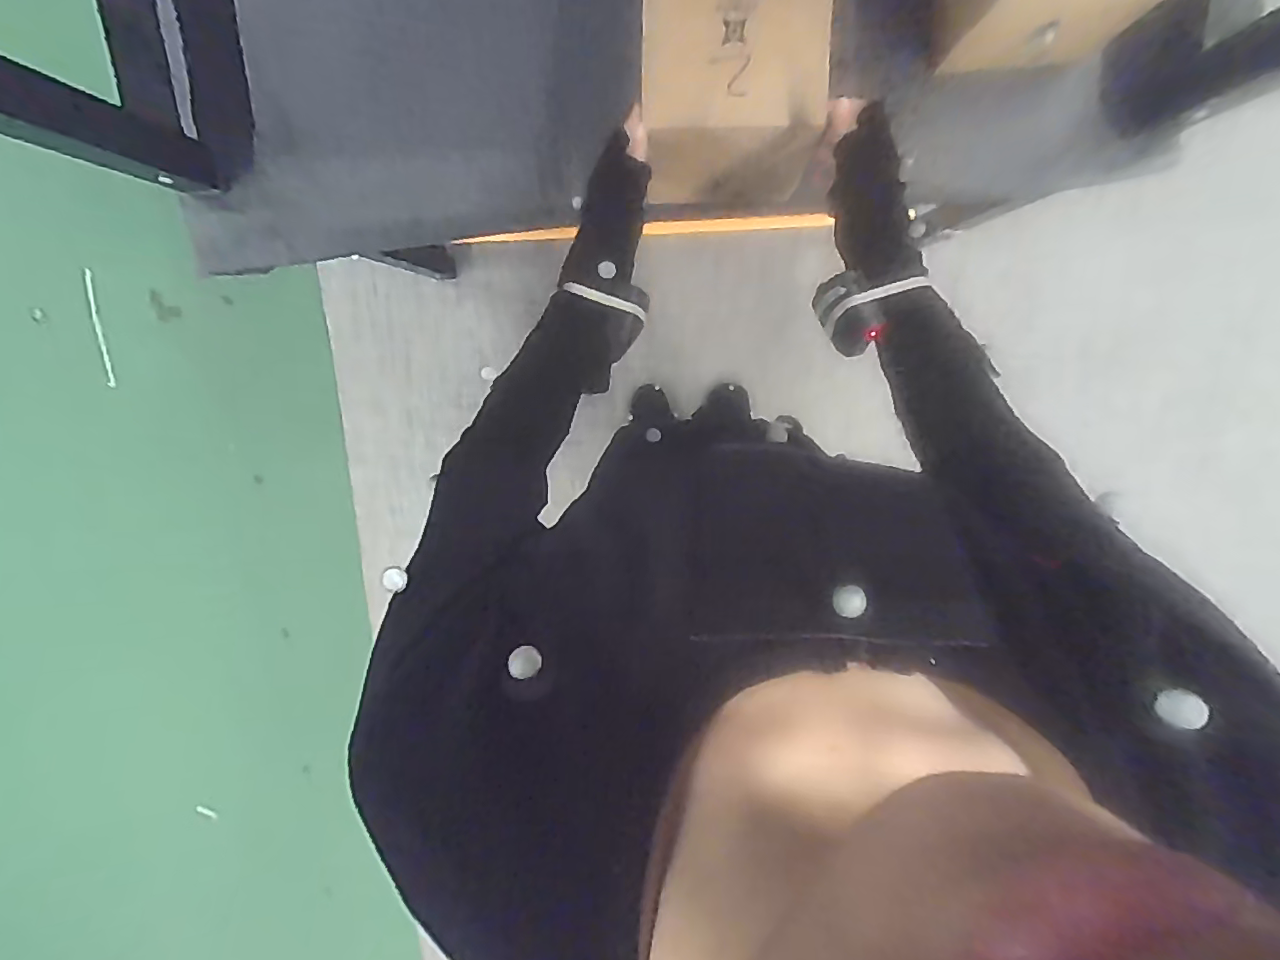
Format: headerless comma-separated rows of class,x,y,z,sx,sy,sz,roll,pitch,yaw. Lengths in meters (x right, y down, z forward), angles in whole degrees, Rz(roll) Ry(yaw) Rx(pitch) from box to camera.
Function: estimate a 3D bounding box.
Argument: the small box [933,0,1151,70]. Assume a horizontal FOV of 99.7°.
small box,0.404,-0.529,0.519,0.168,0.176,0.179,-3,102,4
